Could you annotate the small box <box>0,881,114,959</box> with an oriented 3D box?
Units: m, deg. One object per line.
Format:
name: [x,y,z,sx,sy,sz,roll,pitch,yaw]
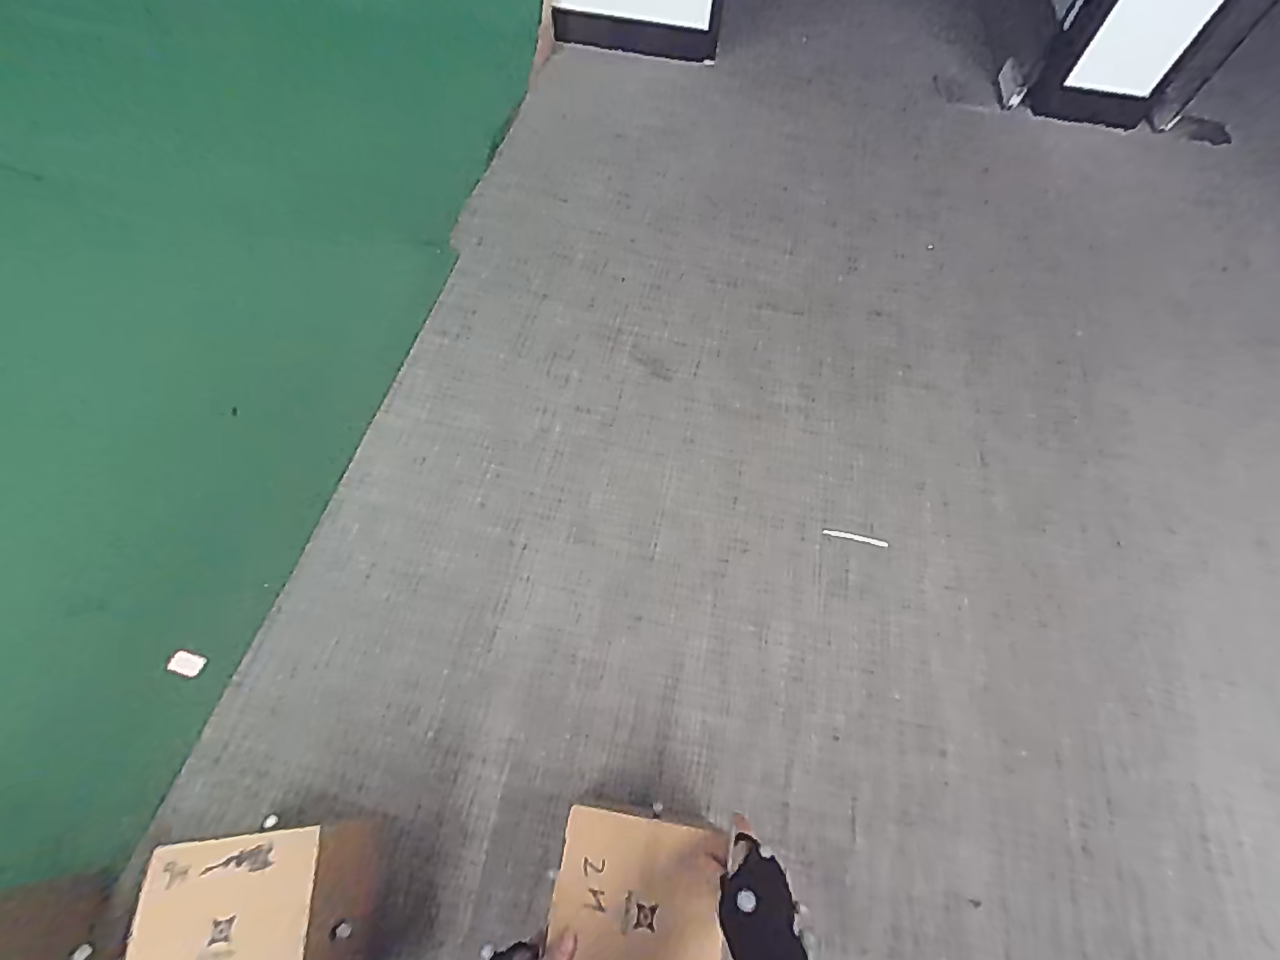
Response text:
small box: [-0.691,0.549,0.541,0.179,0.176,0.168,-28,66,-17]

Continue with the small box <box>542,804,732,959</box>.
small box: [-0.006,0.475,0.608,0.179,0.176,0.168,10,62,3]

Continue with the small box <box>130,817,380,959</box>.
small box: [-0.403,0.485,0.588,0.168,0.176,0.179,-4,62,-5]
